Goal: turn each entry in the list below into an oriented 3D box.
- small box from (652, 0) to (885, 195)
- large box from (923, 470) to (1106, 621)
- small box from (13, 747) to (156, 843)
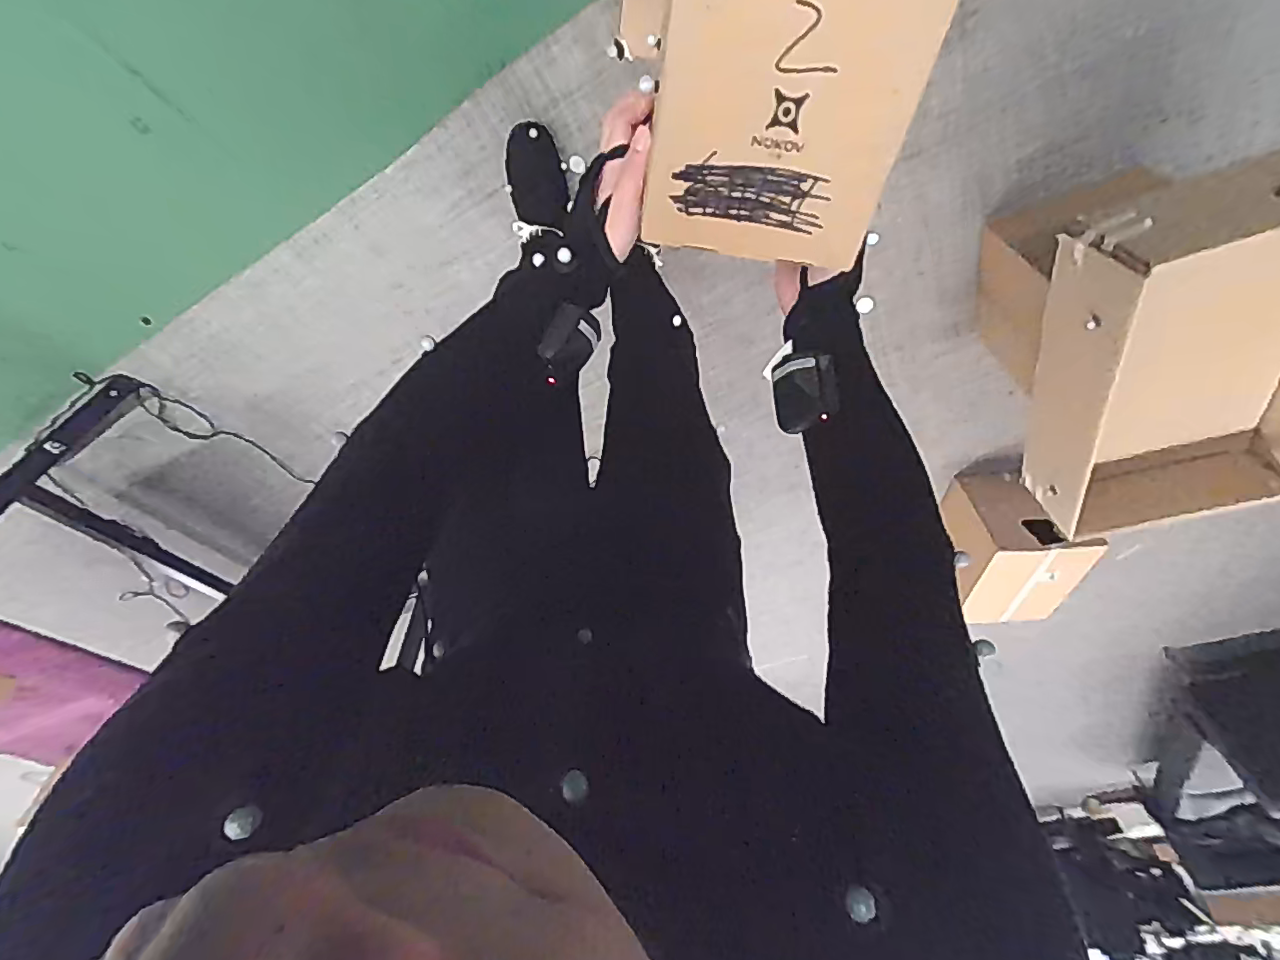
[{"bbox_3d":[0.109,-0.410,0.527,0.168,0.176,0.179,7,133,-6],"label":"small box"},{"bbox_3d":[1.184,0.220,1.773,0.320,0.320,0.408,-4,134,3],"label":"large box"},{"bbox_3d":[-1.430,0.819,1.406,0.179,0.176,0.168,-22,131,19],"label":"small box"}]
